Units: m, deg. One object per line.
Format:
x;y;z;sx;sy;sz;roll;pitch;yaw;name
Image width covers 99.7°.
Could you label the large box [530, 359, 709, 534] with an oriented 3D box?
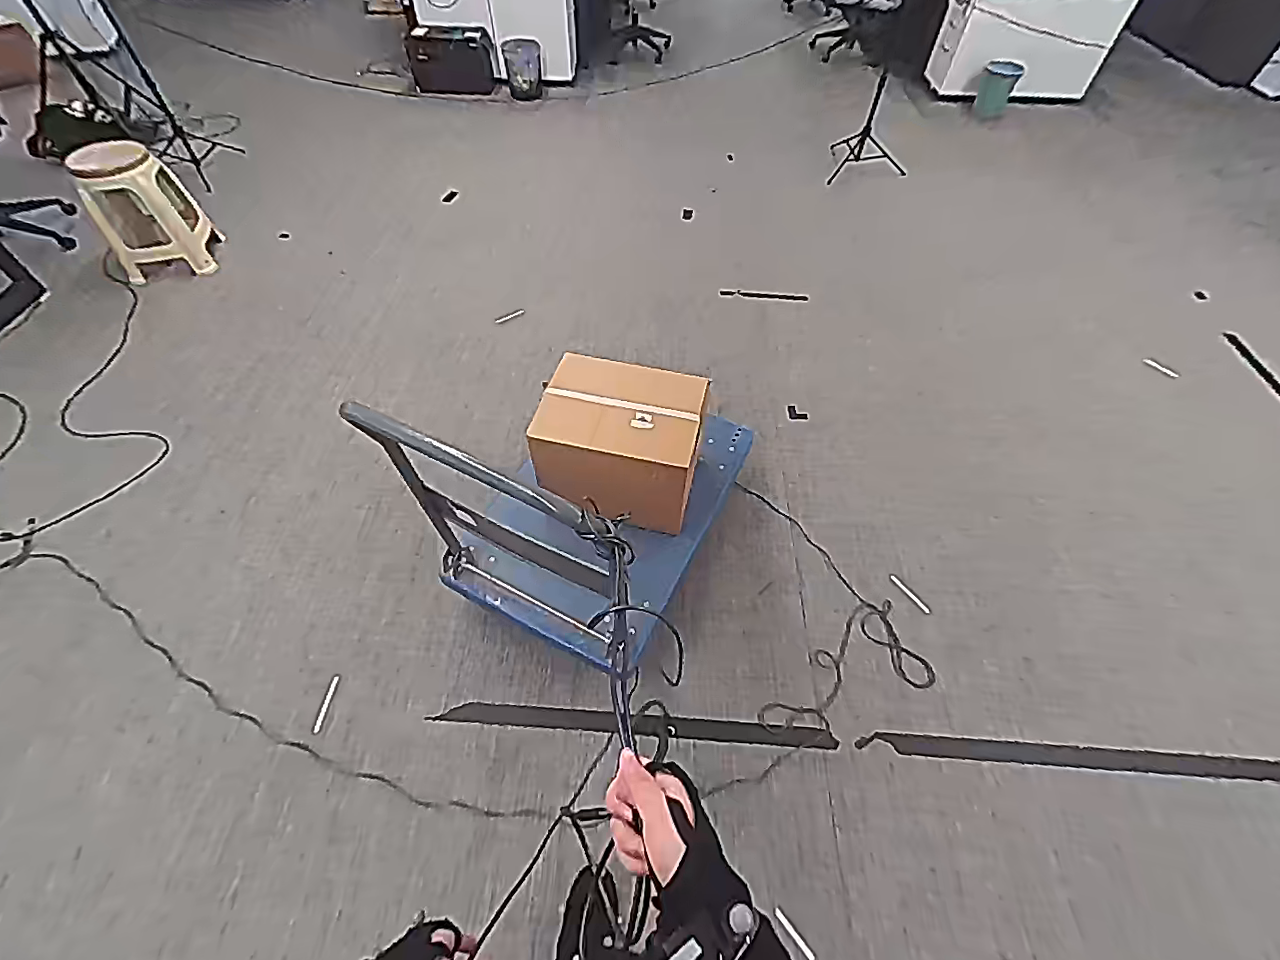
-0.049;-0.089;1.485;0.408;0.320;0.320;12;55;6;large box
